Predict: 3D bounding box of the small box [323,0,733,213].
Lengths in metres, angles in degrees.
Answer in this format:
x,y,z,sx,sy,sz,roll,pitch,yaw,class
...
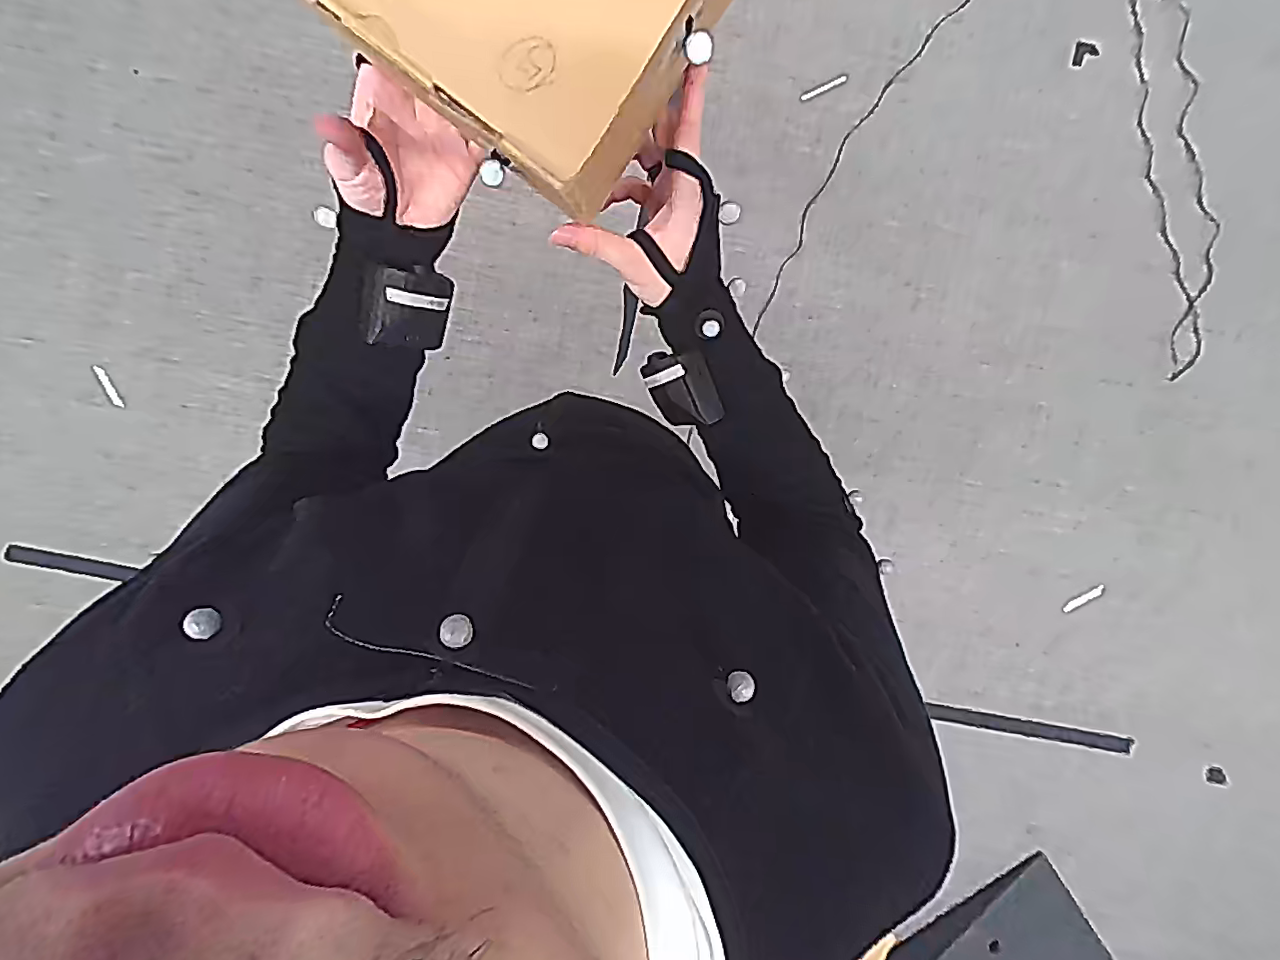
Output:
x,y,z,sx,sy,sz,roll,pitch,yaw,class
-0.044,-0.257,0.256,0.168,0.176,0.179,33,104,-15,small box
